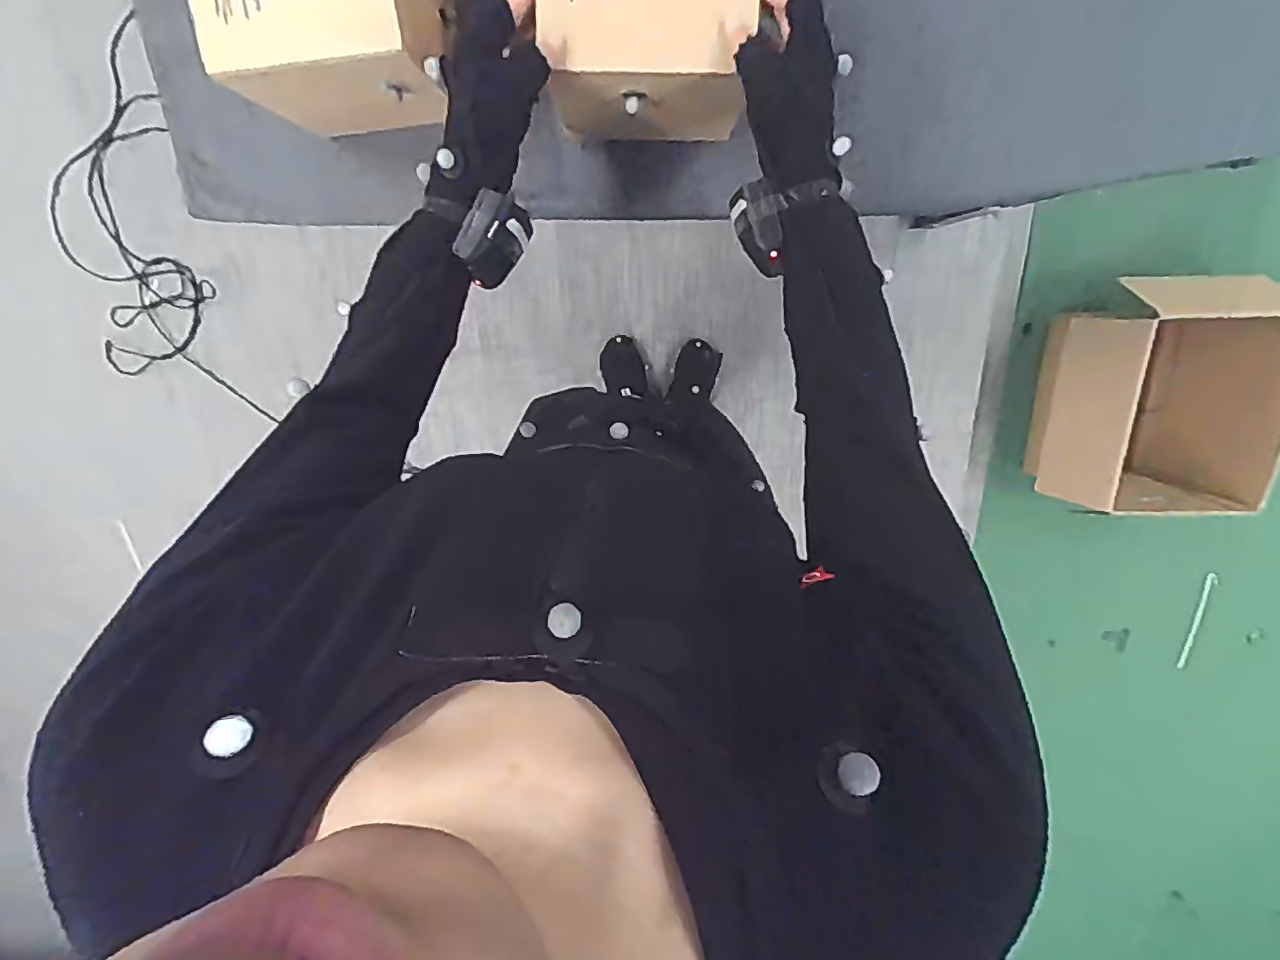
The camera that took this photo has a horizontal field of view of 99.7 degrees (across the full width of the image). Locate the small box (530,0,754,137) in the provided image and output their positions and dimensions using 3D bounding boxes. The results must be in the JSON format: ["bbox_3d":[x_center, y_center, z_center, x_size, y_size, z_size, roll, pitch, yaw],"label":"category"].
[{"bbox_3d":[0.003,-0.423,0.482,0.179,0.176,0.168,1,107,0],"label":"small box"}]
